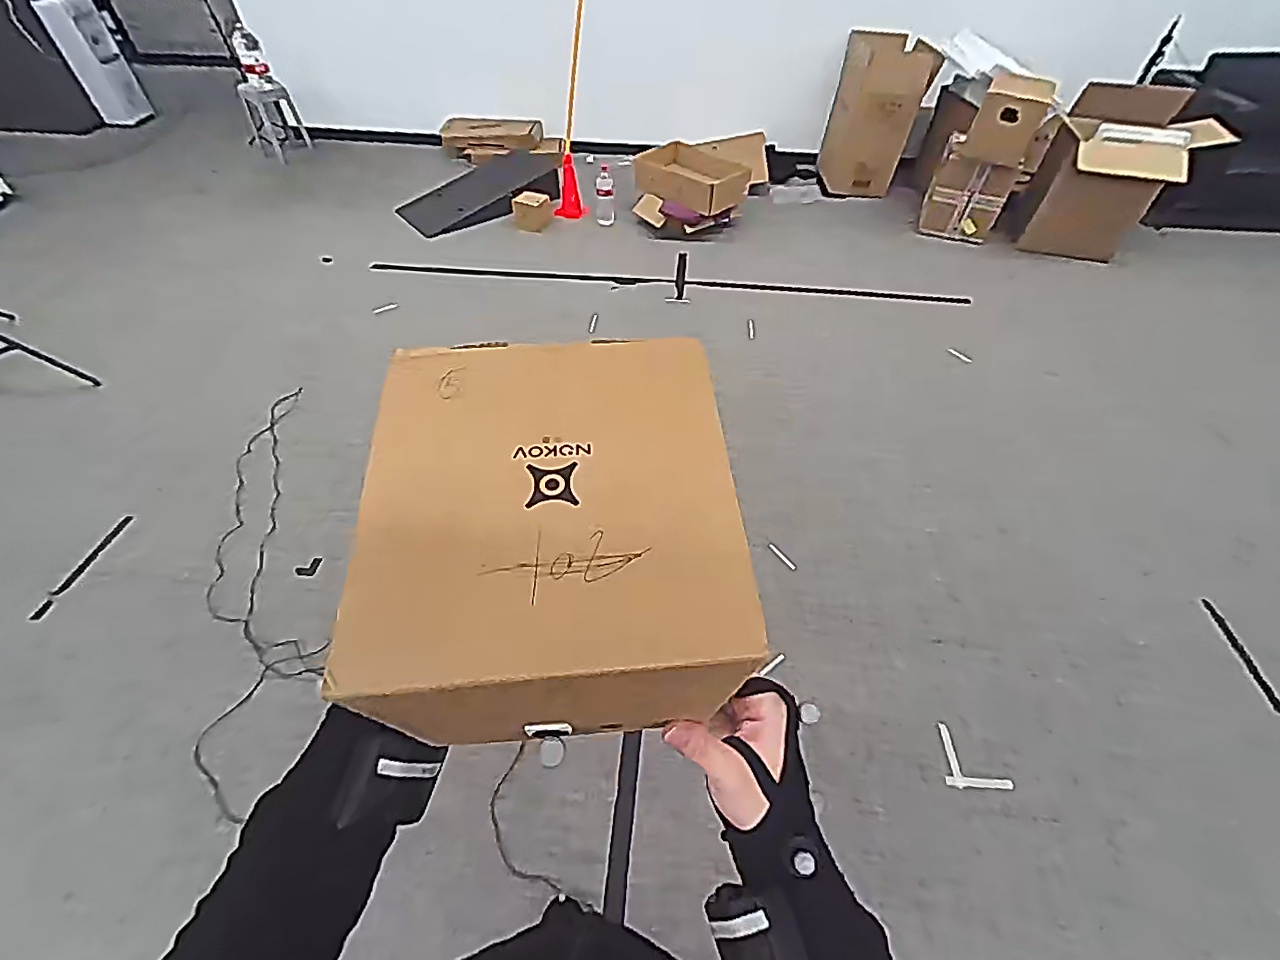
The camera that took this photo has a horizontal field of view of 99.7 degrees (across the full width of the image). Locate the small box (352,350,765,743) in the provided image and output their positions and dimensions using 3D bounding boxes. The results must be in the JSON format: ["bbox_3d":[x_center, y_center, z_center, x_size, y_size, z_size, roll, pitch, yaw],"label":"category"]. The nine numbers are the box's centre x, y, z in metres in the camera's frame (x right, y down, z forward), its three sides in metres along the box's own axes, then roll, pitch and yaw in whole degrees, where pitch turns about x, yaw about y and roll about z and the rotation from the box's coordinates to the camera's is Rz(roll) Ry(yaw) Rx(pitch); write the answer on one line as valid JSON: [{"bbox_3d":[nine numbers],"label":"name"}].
[{"bbox_3d":[-0.042,0.046,0.324,0.168,0.176,0.179,-4,59,-5],"label":"small box"}]
